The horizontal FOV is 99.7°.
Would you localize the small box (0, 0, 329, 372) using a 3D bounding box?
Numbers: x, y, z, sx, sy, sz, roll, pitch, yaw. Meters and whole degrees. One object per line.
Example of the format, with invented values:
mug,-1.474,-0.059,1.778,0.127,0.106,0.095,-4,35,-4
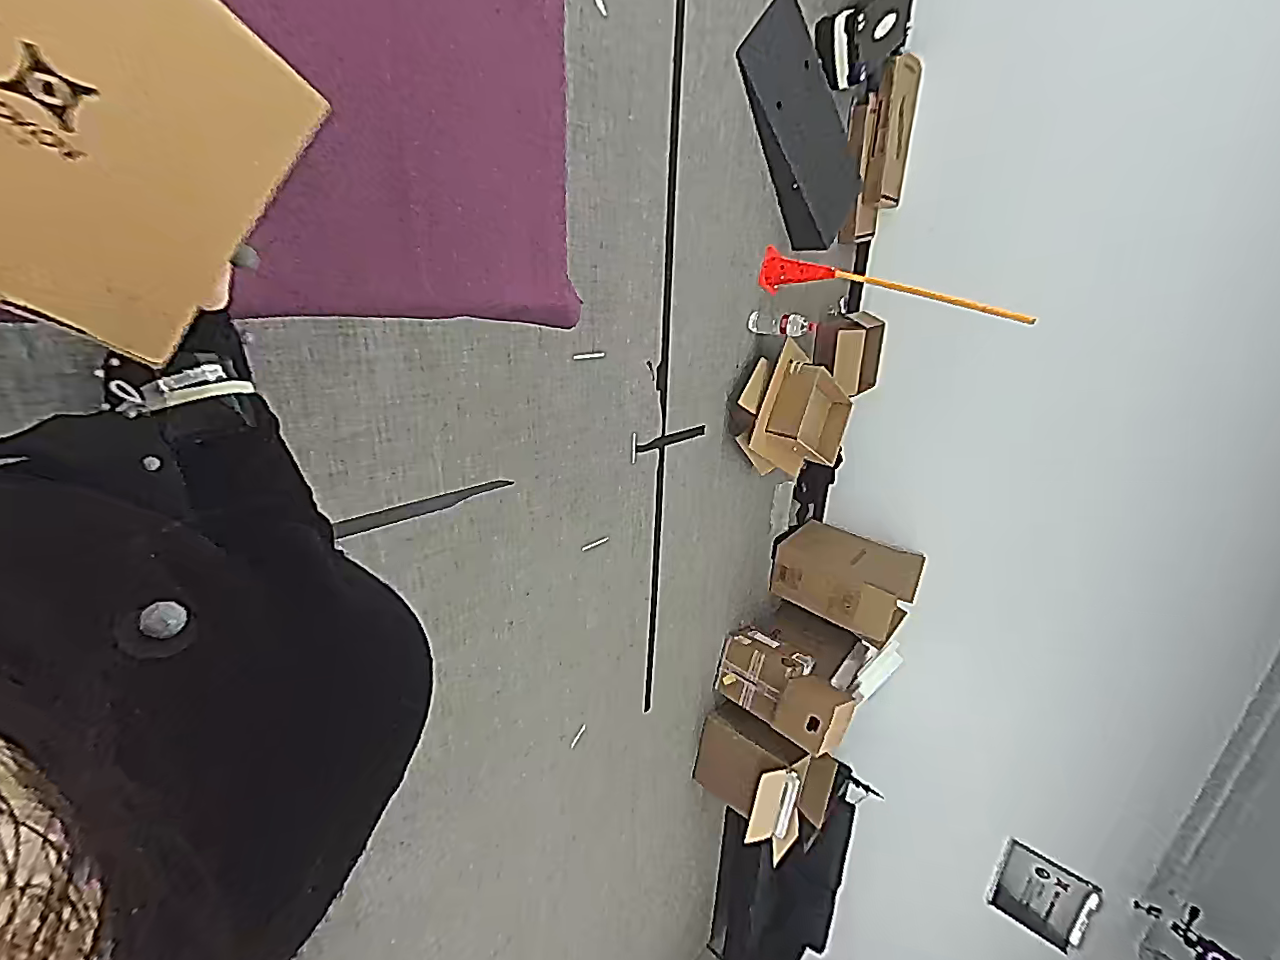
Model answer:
small box,-0.317,-0.187,0.290,0.168,0.176,0.179,33,82,-52
